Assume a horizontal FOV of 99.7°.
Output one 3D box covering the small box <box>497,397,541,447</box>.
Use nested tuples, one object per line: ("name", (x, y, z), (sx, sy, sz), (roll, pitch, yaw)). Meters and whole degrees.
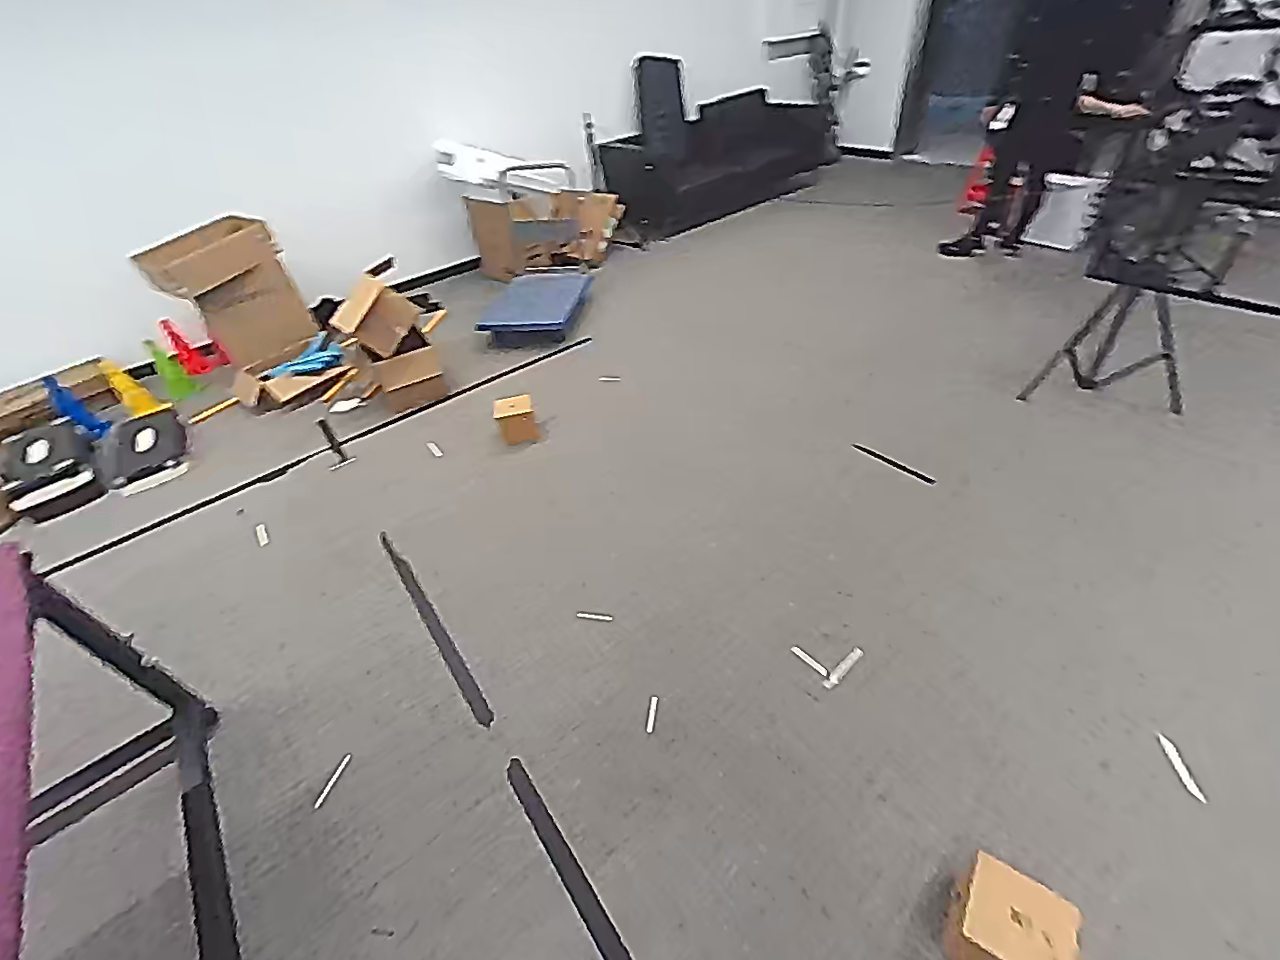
("small box", (-0.595, -0.282, 2.667), (0.179, 0.176, 0.168), (-12, 40, -6))

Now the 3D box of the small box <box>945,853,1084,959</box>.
("small box", (0.728, 0.895, 1.066), (0.179, 0.176, 0.168), (22, 48, 30))
